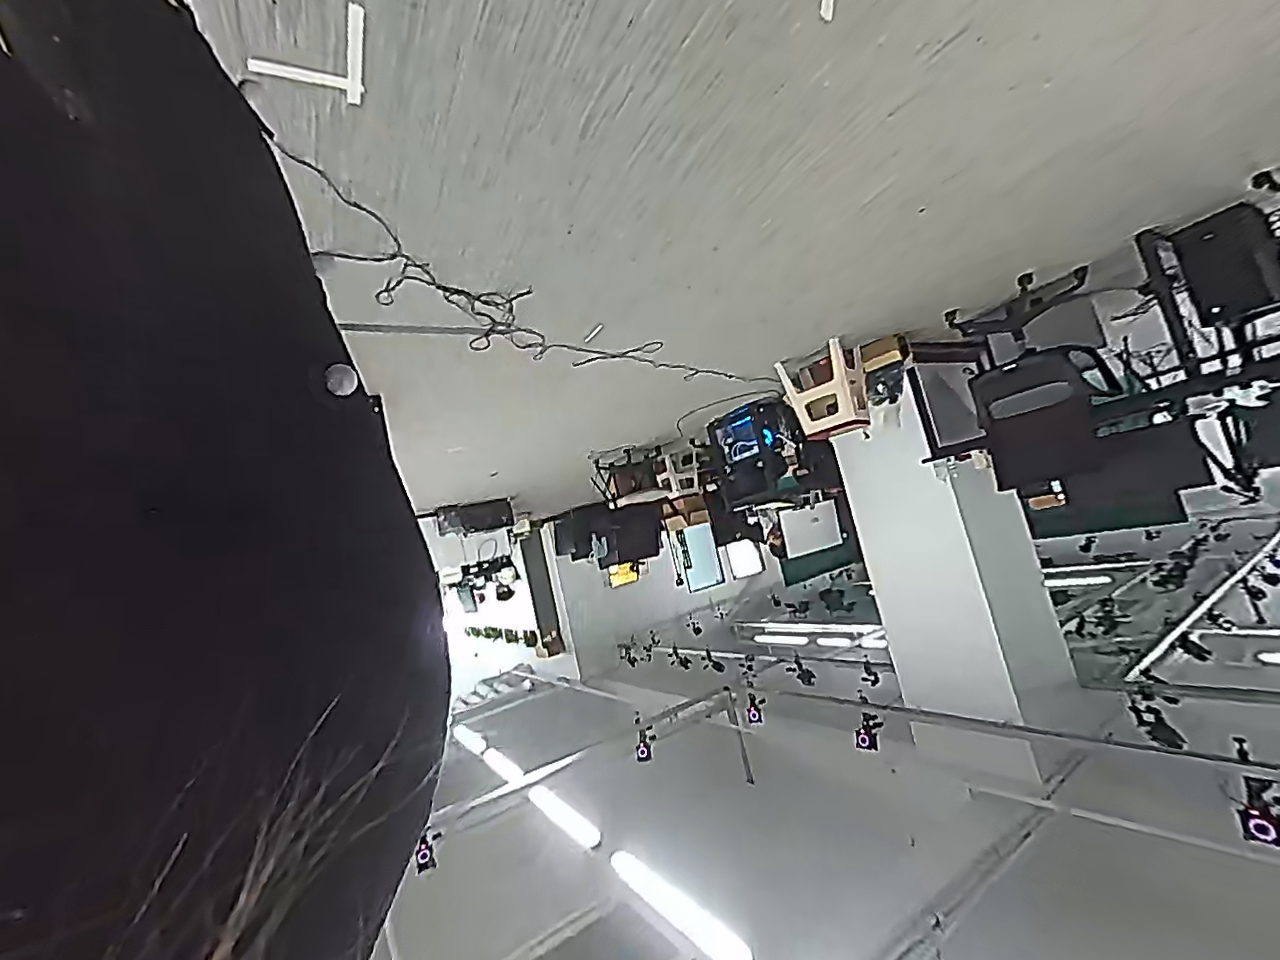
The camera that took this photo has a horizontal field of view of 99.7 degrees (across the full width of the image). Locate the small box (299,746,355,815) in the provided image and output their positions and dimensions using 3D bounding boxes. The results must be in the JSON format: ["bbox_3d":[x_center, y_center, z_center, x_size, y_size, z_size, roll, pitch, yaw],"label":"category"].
[{"bbox_3d":[-1.243,1.181,2.140,0.168,0.176,0.179,-8,171,-35],"label":"small box"}]
